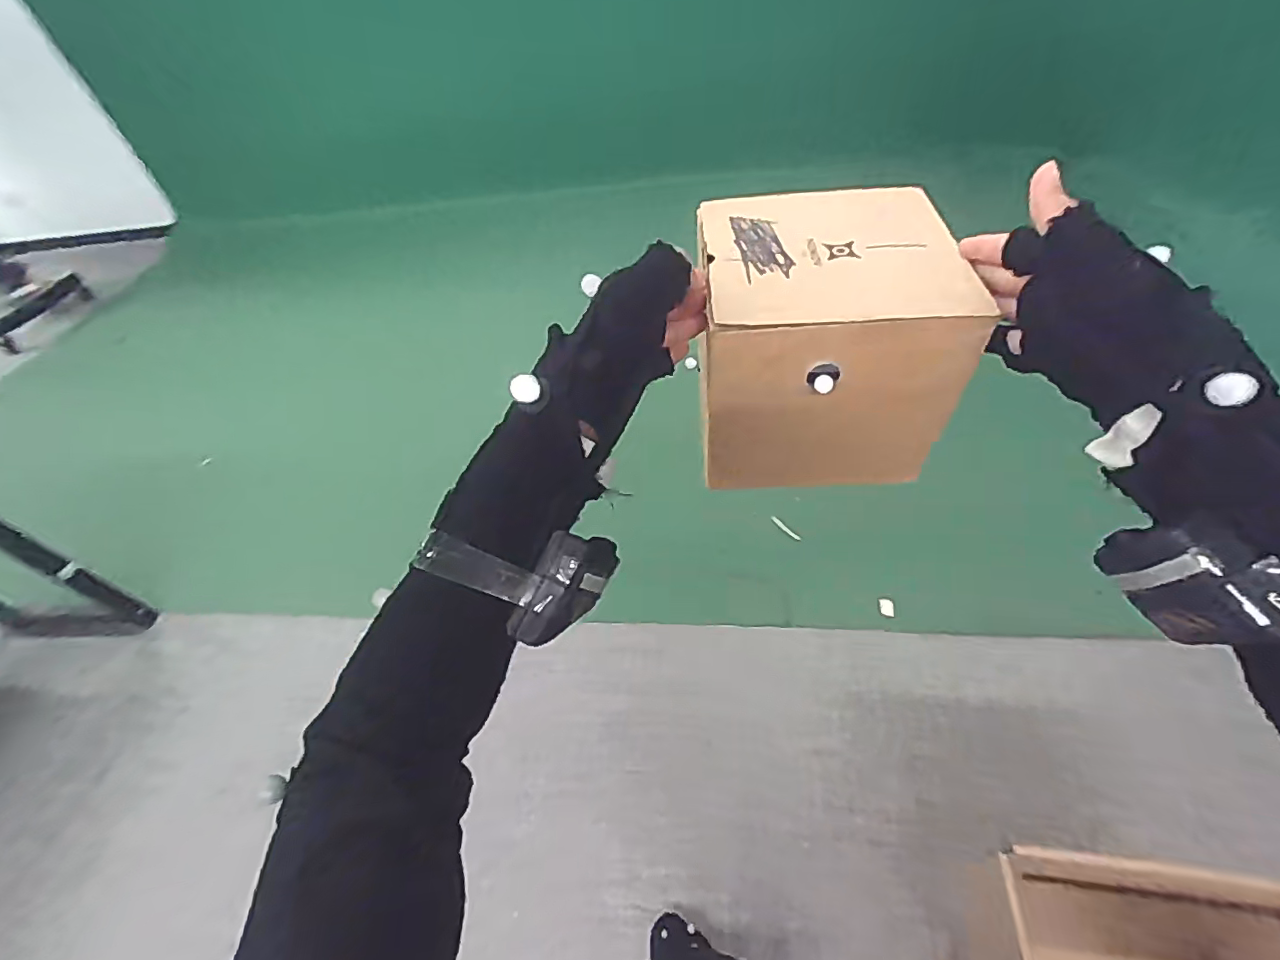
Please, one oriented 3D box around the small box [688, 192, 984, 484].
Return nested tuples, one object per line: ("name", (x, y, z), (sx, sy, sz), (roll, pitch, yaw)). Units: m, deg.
("small box", (0.132, -0.109, 0.445), (0.179, 0.176, 0.168), (-2, 52, 4))
